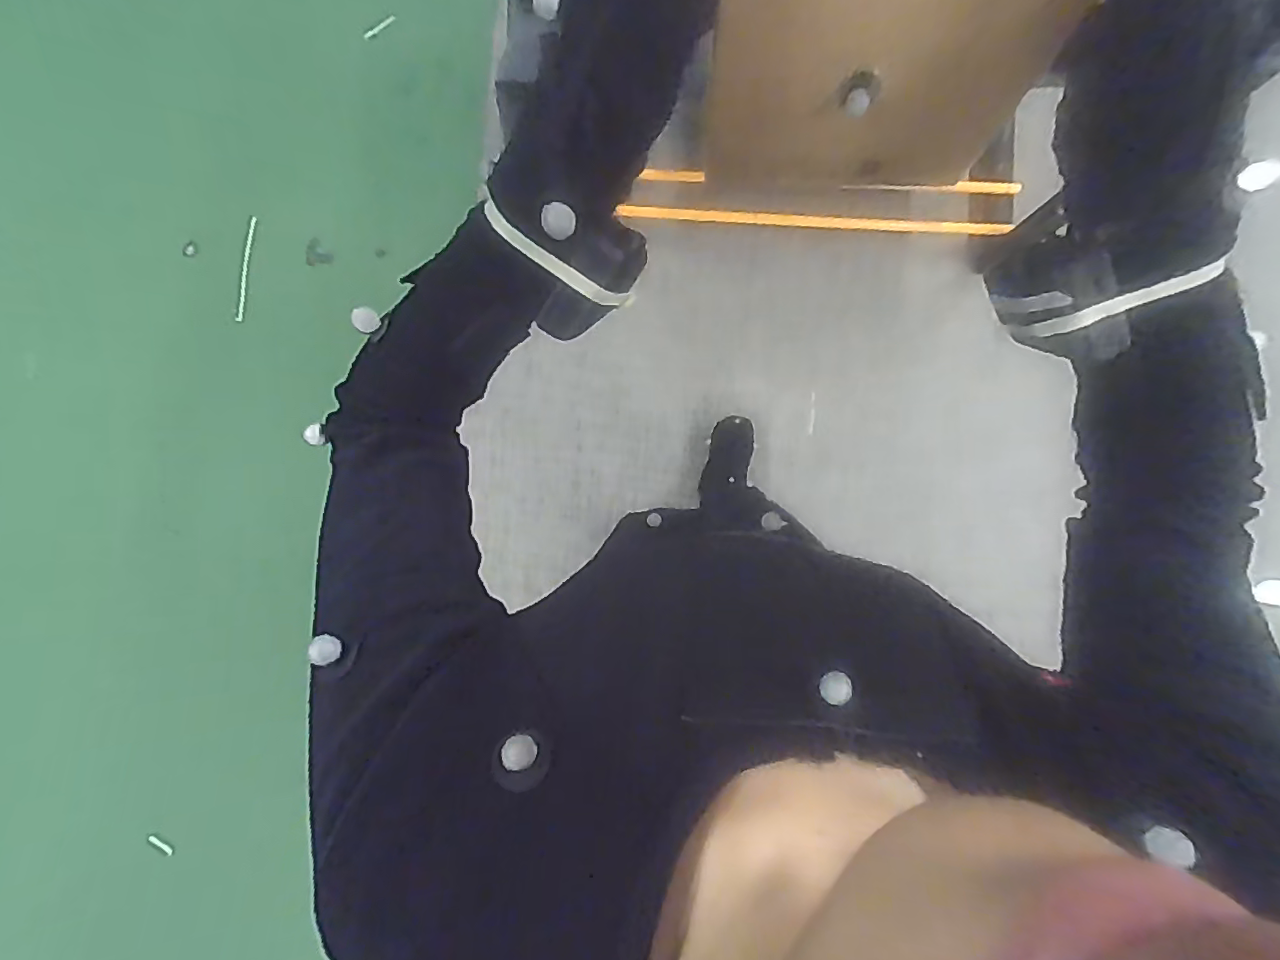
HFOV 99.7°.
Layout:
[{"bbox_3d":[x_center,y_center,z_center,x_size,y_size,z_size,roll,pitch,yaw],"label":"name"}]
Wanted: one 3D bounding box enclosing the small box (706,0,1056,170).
[{"bbox_3d":[0.125,-0.300,0.294,0.168,0.176,0.179,3,83,5],"label":"small box"}]
